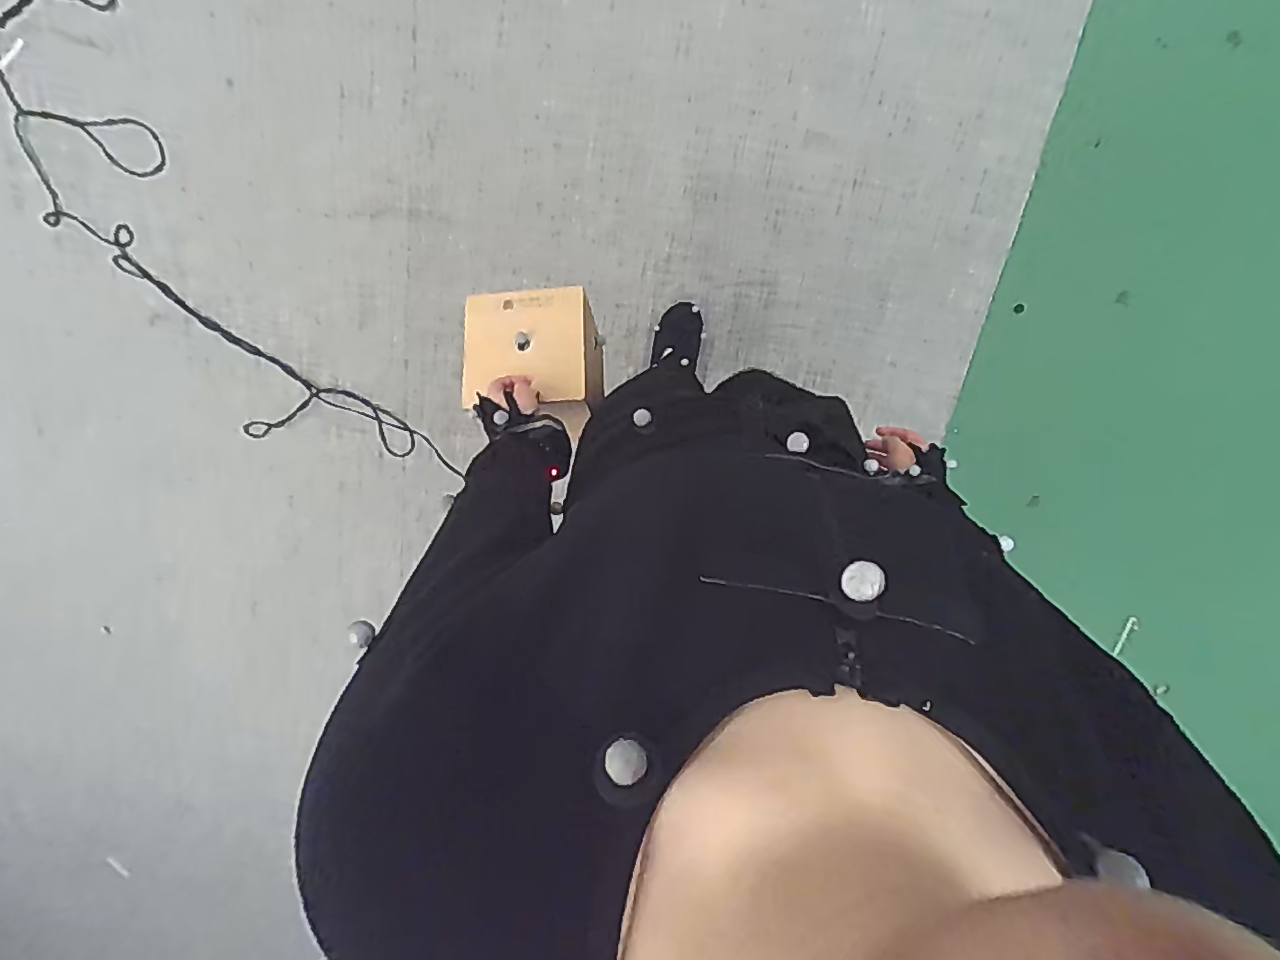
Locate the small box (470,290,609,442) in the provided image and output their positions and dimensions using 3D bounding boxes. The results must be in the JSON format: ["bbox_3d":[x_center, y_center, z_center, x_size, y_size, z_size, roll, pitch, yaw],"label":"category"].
[{"bbox_3d":[-0.141,-0.165,0.797,0.168,0.179,0.176,-3,78,4],"label":"small box"}]
